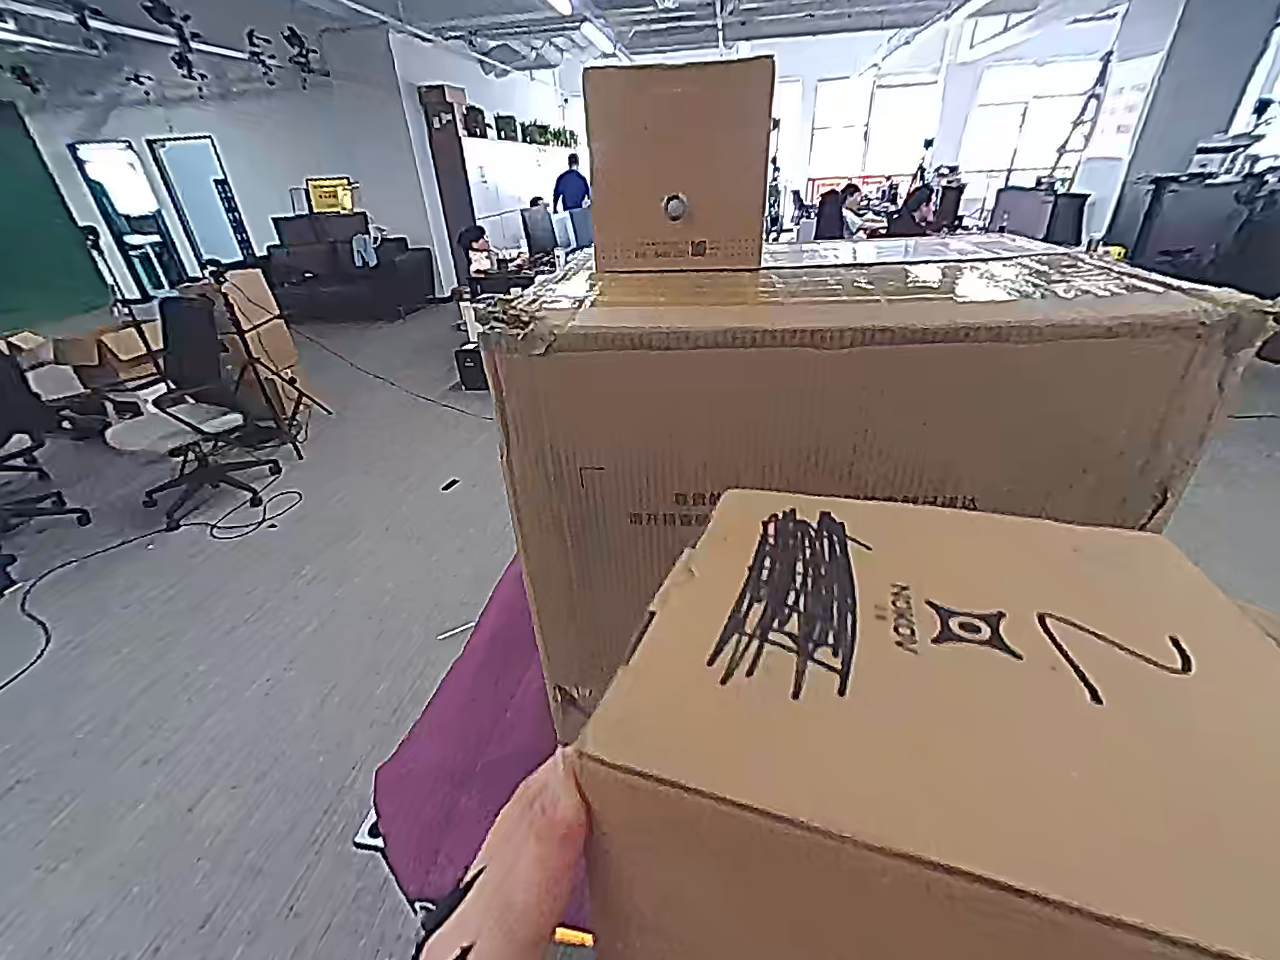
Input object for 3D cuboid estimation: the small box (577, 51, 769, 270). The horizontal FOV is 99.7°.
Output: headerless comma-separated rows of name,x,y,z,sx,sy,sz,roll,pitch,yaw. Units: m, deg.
small box,0.038,-0.320,0.560,0.168,0.176,0.179,1,30,7
